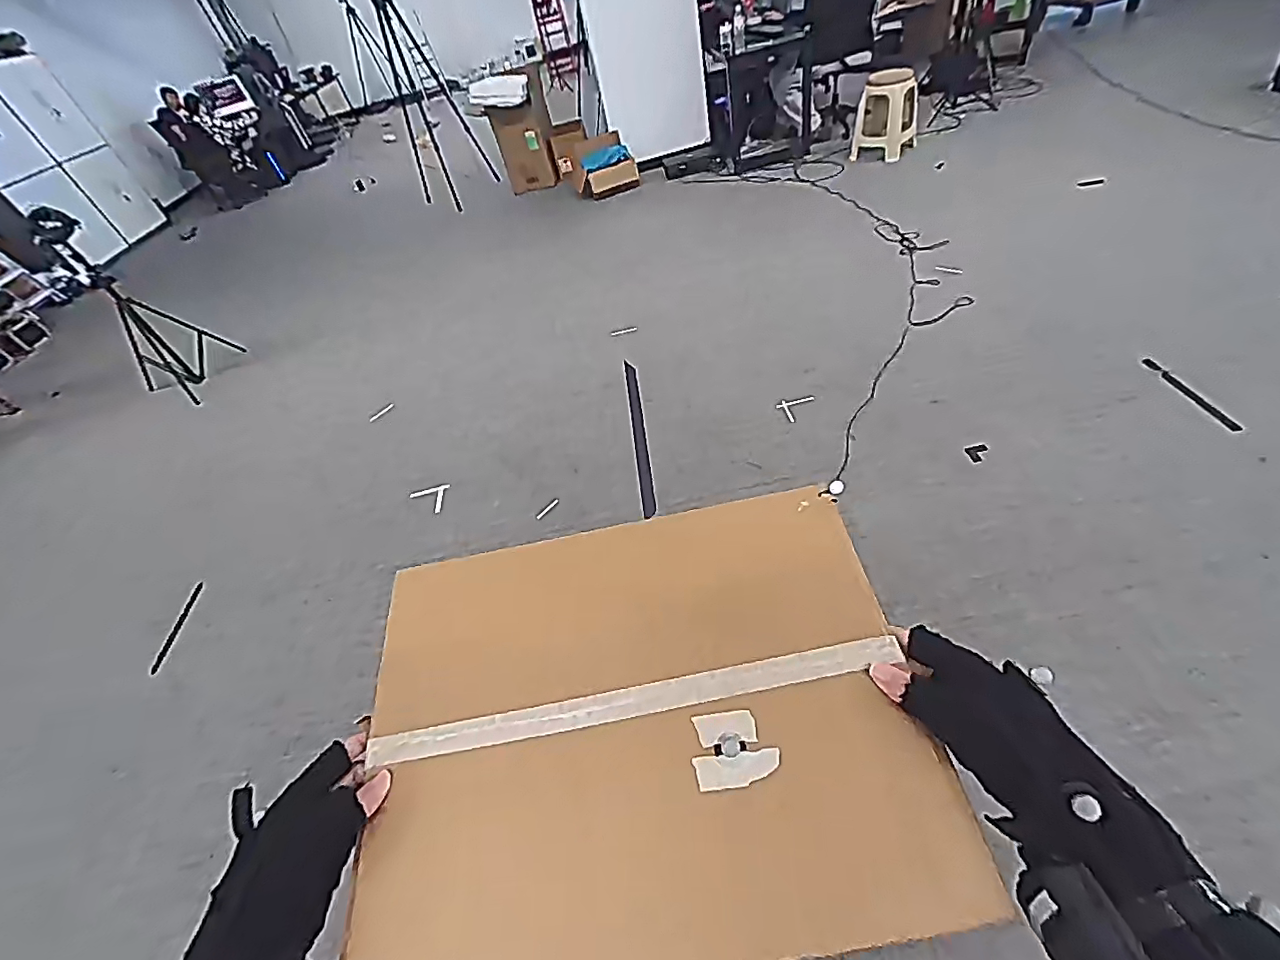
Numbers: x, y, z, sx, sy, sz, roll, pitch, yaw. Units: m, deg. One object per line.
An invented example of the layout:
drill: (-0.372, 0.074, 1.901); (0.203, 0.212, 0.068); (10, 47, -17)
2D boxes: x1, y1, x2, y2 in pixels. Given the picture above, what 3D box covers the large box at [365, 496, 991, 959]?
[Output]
large box: (0.017, 0.264, 0.535); (0.408, 0.320, 0.320); (-12, 53, 1)
